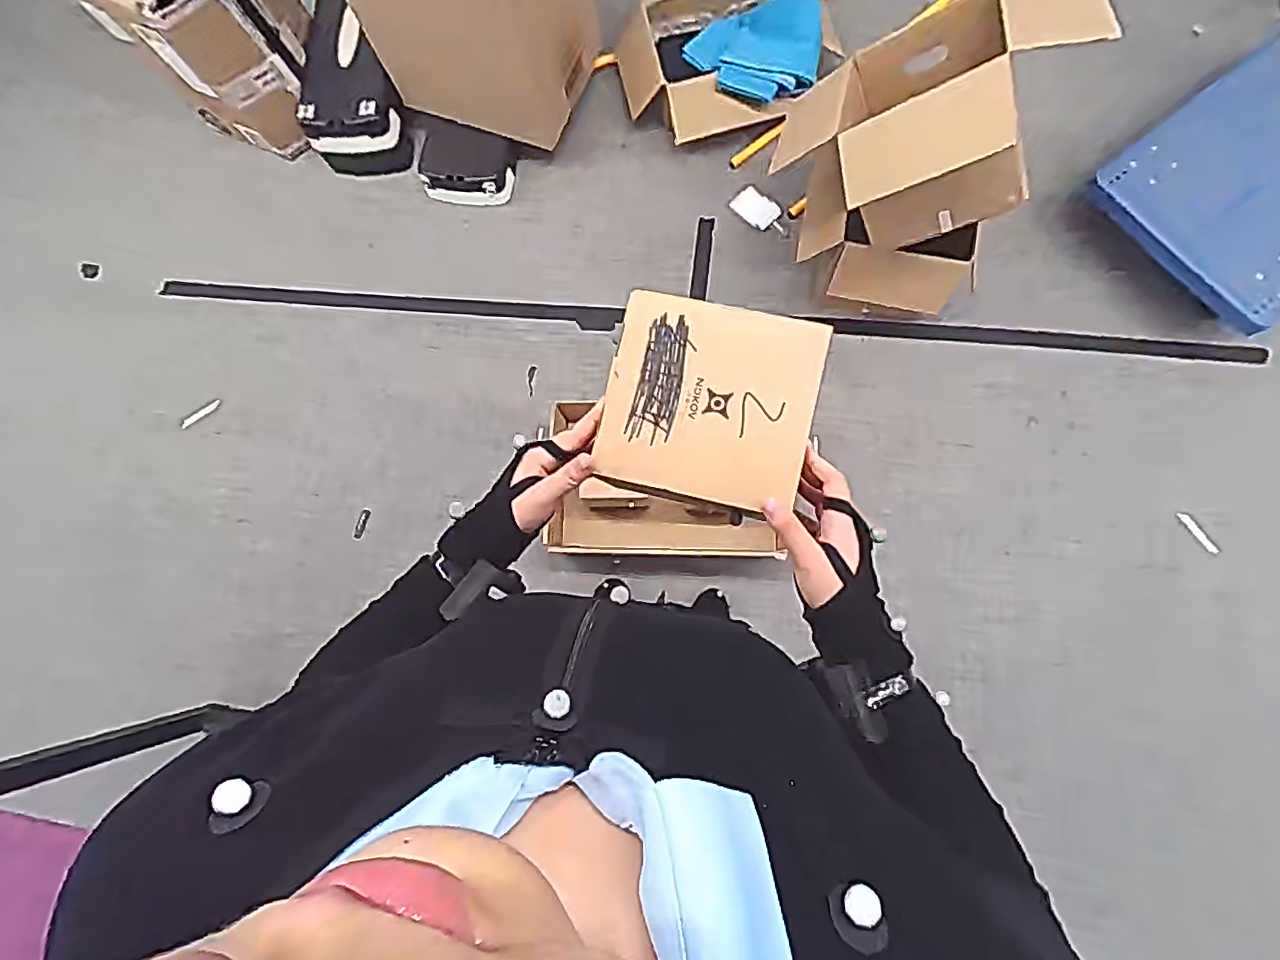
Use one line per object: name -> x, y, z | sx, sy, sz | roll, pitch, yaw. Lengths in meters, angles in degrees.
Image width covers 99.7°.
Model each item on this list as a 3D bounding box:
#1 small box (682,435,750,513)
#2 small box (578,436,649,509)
small box -> 0.195, -0.012, 1.420 | 0.168, 0.176, 0.179 | 1, 79, 5
small box -> -0.064, -0.015, 1.434 | 0.179, 0.176, 0.168 | -1, 78, 2
